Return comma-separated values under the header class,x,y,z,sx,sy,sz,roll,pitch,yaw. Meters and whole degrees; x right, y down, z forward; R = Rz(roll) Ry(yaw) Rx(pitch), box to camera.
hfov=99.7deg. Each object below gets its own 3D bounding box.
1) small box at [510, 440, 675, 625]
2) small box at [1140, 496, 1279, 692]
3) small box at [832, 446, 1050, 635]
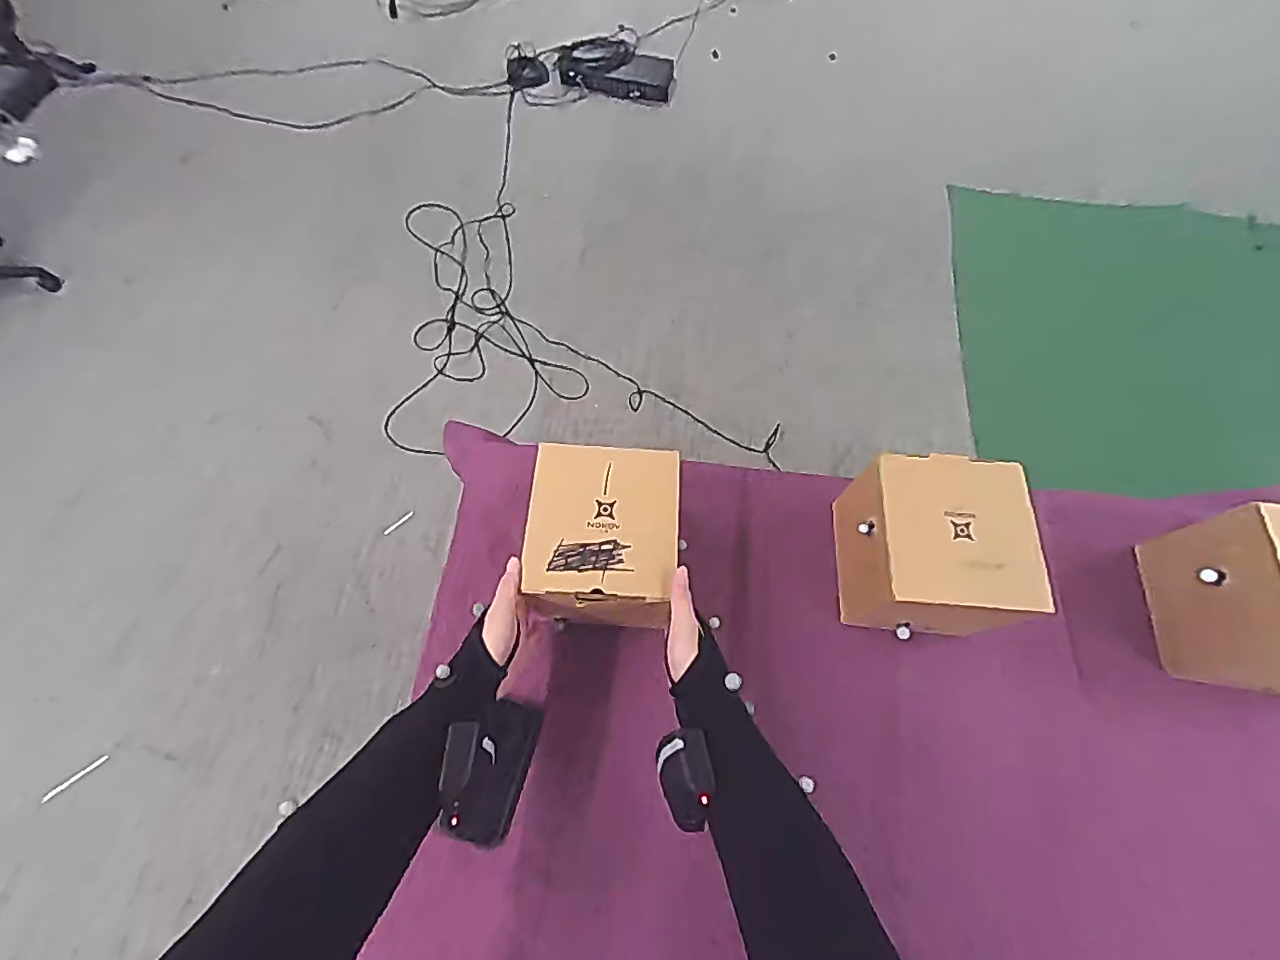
class,x,y,z,sx,sy,sz,roll,pitch,yaw
small box,-0.048,0.071,0.653,0.168,0.176,0.179,4,64,0
small box,0.749,0.140,0.634,0.168,0.176,0.179,8,65,4
small box,0.343,0.080,0.658,0.168,0.176,0.179,5,65,2
